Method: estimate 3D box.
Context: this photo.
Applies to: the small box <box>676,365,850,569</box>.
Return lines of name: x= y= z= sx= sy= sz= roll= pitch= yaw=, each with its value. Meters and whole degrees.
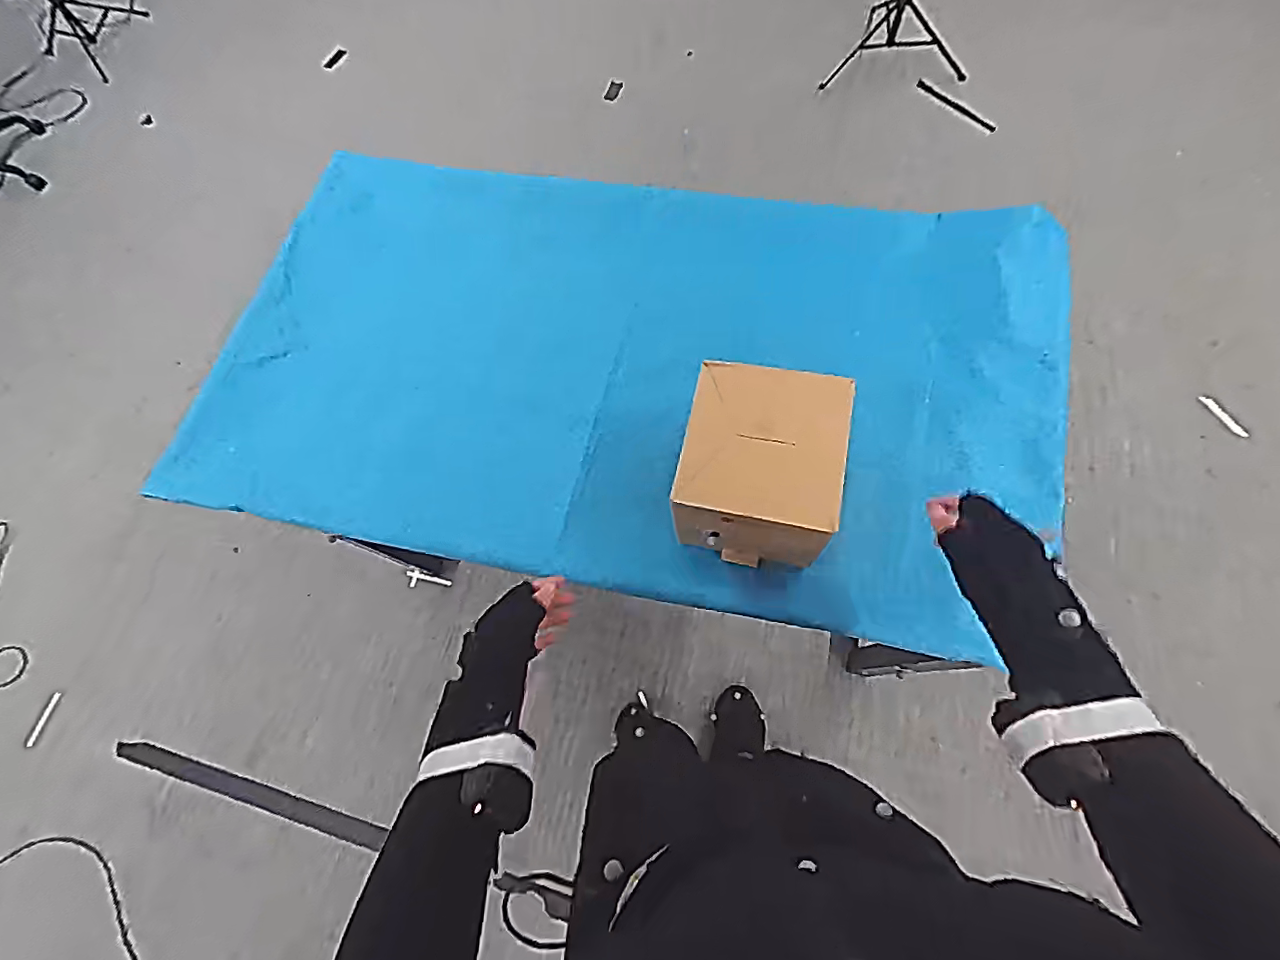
small box: x=0.139 y=-0.010 z=0.640 sx=0.168 sy=0.176 sz=0.179 roll=10 pitch=70 yaw=10
